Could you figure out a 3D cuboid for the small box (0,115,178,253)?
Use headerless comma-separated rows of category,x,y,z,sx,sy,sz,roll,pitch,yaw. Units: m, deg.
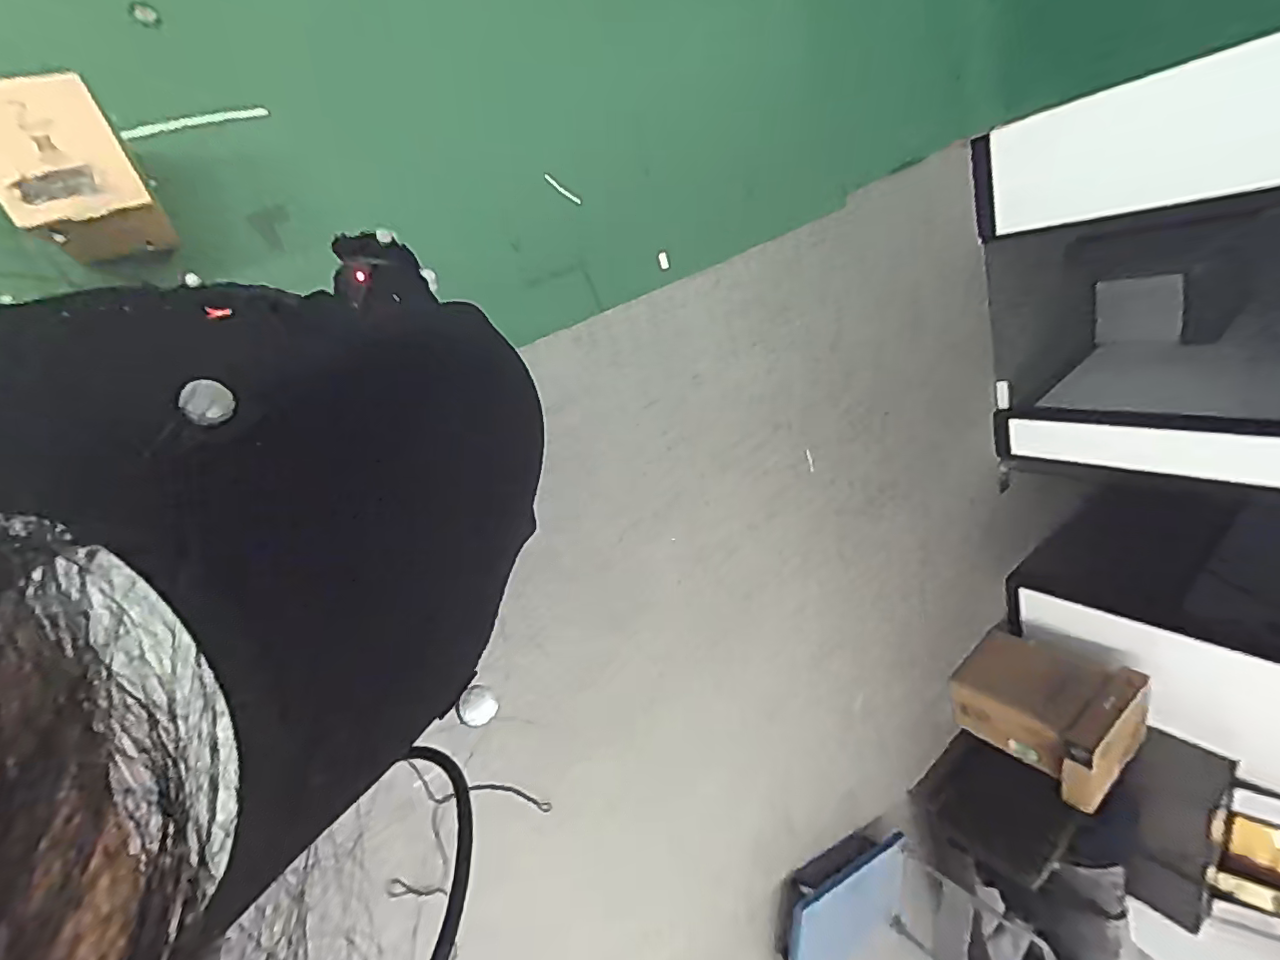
small box,-0.971,-0.515,0.962,0.168,0.176,0.179,-27,114,-26
